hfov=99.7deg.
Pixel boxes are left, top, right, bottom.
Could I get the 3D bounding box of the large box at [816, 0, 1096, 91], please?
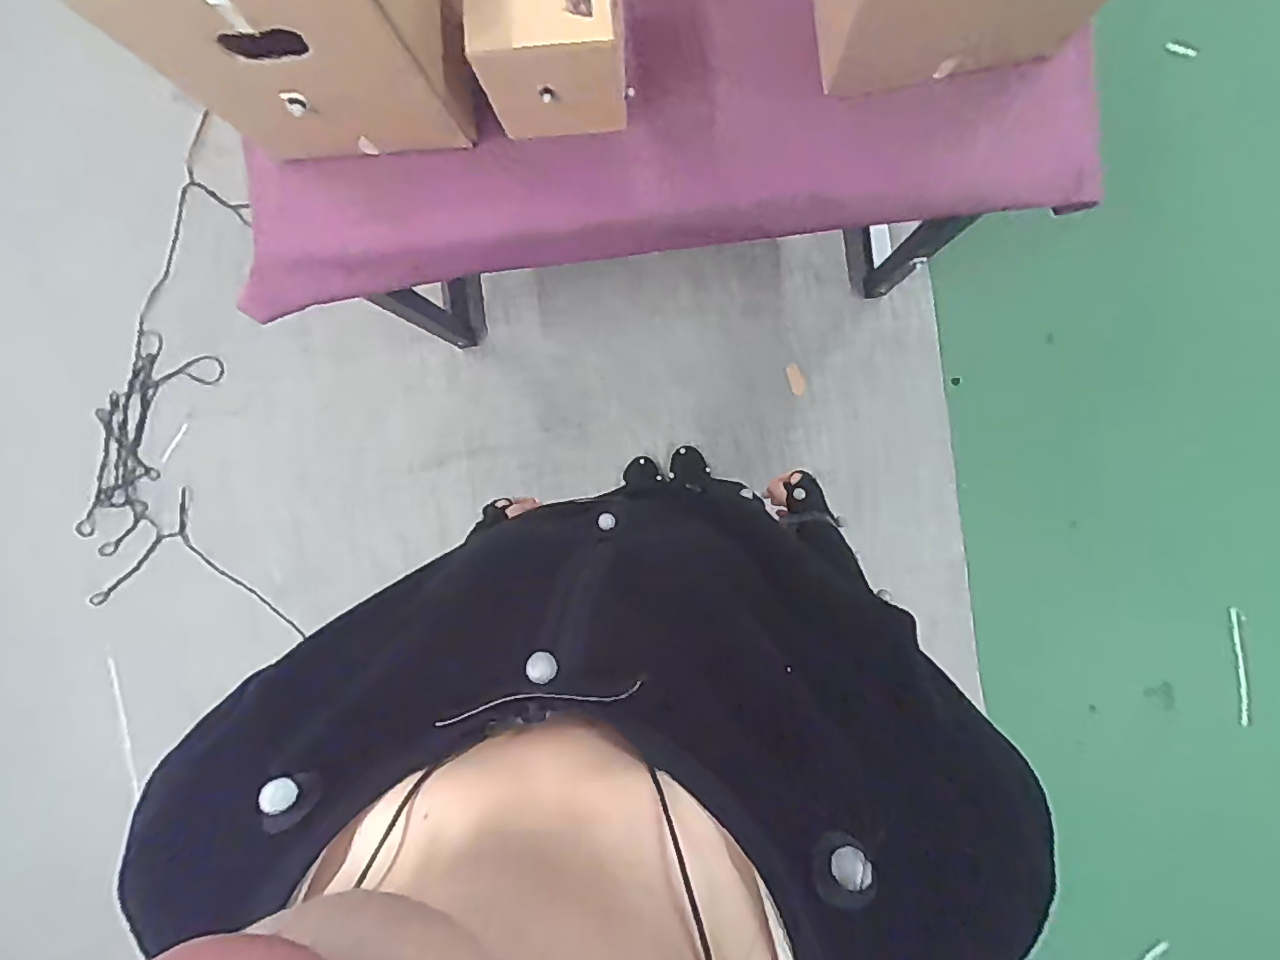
[{"bbox_3d":[0.370,-0.748,0.587,0.320,0.320,0.408,-7,92,6],"label":"large box"}]
